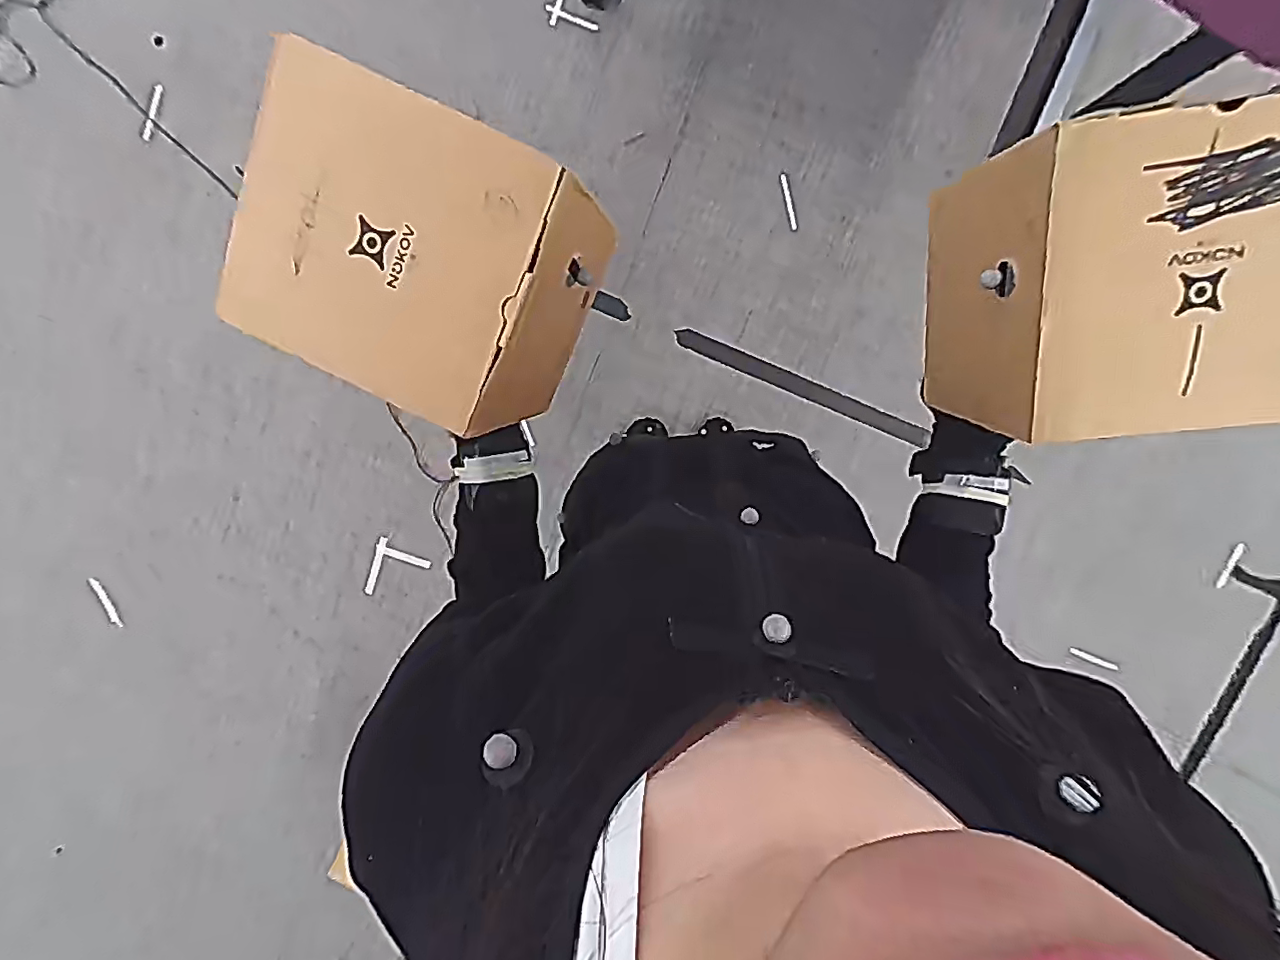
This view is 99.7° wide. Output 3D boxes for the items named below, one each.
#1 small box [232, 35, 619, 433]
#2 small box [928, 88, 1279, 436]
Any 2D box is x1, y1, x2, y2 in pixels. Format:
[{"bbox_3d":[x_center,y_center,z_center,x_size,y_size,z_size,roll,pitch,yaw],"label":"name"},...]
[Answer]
[{"bbox_3d":[-0.131,-0.153,0.388,0.179,0.176,0.168,26,104,2],"label":"small box"},{"bbox_3d":[0.320,-0.137,0.377,0.168,0.176,0.179,-4,106,8],"label":"small box"}]
